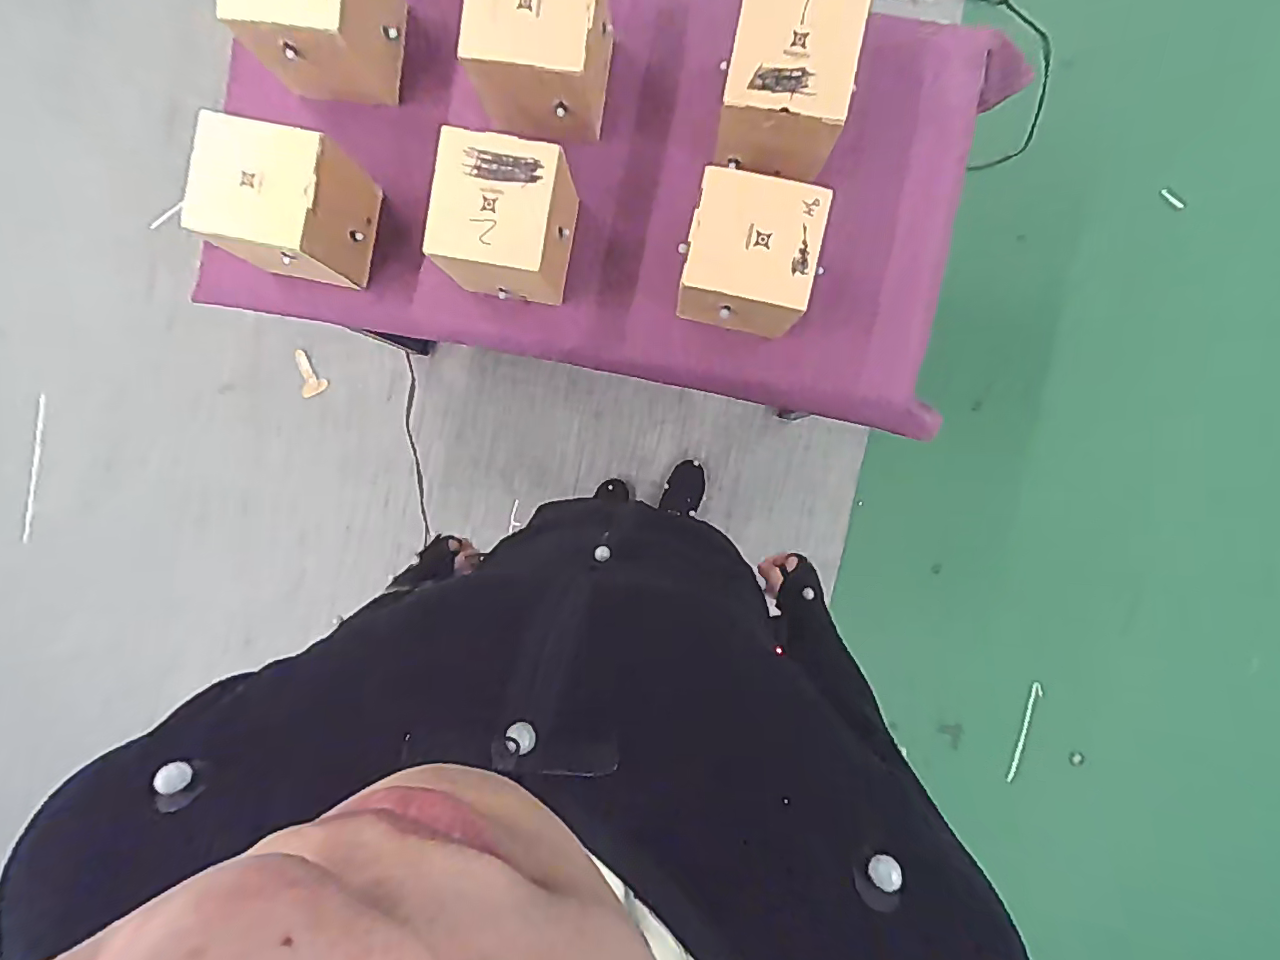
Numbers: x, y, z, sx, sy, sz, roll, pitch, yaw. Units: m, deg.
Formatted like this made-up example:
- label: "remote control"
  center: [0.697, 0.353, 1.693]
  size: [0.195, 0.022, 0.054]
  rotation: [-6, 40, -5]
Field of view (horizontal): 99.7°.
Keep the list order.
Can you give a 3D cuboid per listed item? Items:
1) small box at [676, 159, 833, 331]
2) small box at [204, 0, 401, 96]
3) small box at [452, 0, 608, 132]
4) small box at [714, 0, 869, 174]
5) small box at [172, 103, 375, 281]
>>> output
- label: "small box"
  center: [0.154, -0.328, 0.789]
  size: [0.179, 0.176, 0.168]
  rotation: [13, 93, 2]
- label: "small box"
  center: [-0.481, -0.701, 0.791]
  size: [0.179, 0.176, 0.168]
  rotation: [8, 94, 1]
- label: "small box"
  center: [-0.148, -0.641, 0.785]
  size: [0.179, 0.176, 0.168]
  rotation: [9, 93, 2]
- label: "small box"
  center: [0.205, -0.574, 0.773]
  size: [0.168, 0.176, 0.179]
  rotation: [11, 93, 2]
- label: "small box"
  center: [-0.535, -0.417, 0.810]
  size: [0.179, 0.176, 0.168]
  rotation: [11, 92, 1]
